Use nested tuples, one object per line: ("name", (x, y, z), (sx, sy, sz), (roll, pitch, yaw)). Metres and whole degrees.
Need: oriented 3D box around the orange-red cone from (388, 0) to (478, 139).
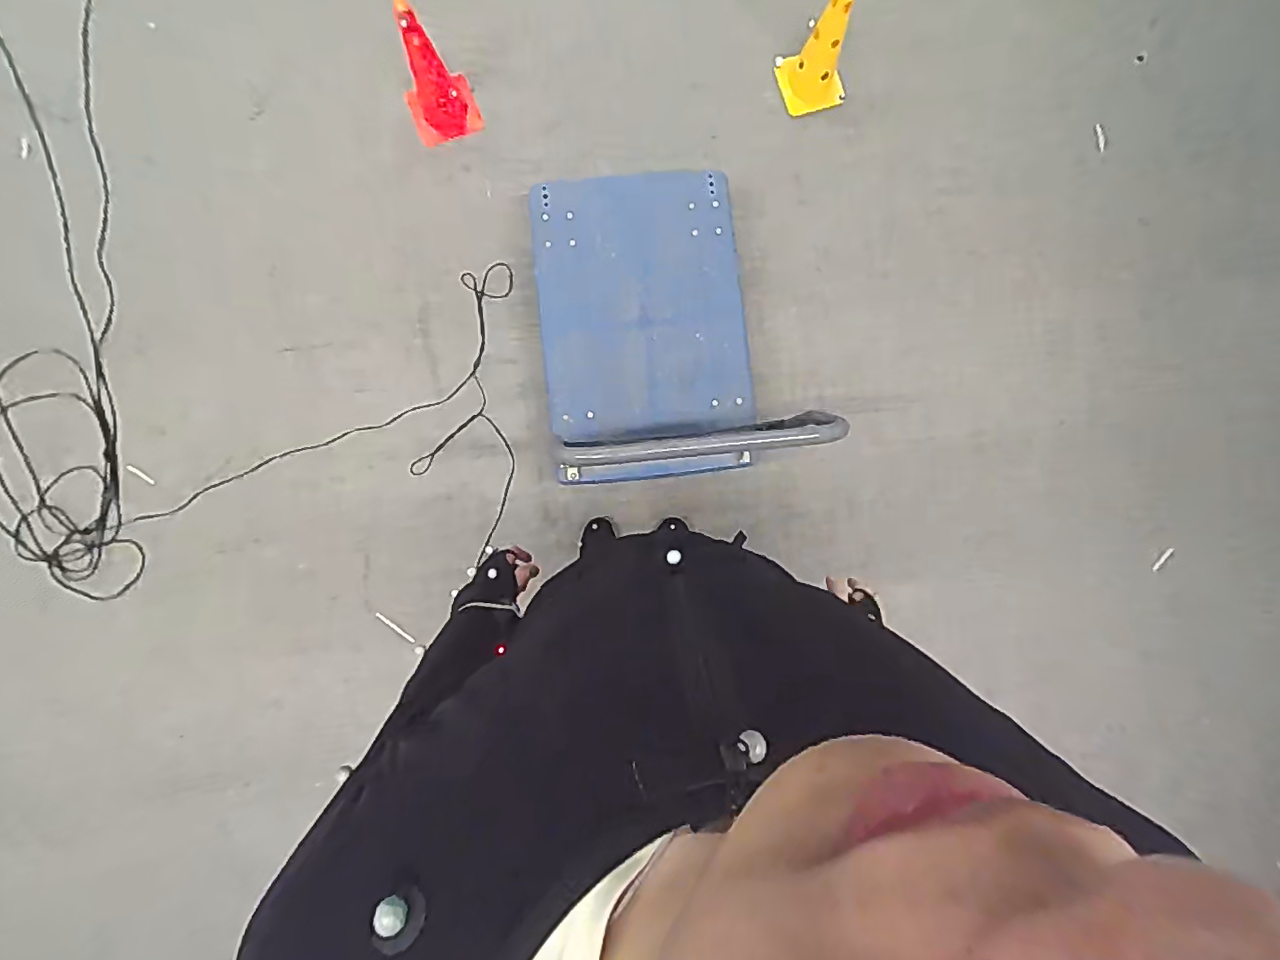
("orange-red cone", (-0.624, -1.194, 1.531), (0.199, 0.360, 0.198), (-21, 87, -2))
